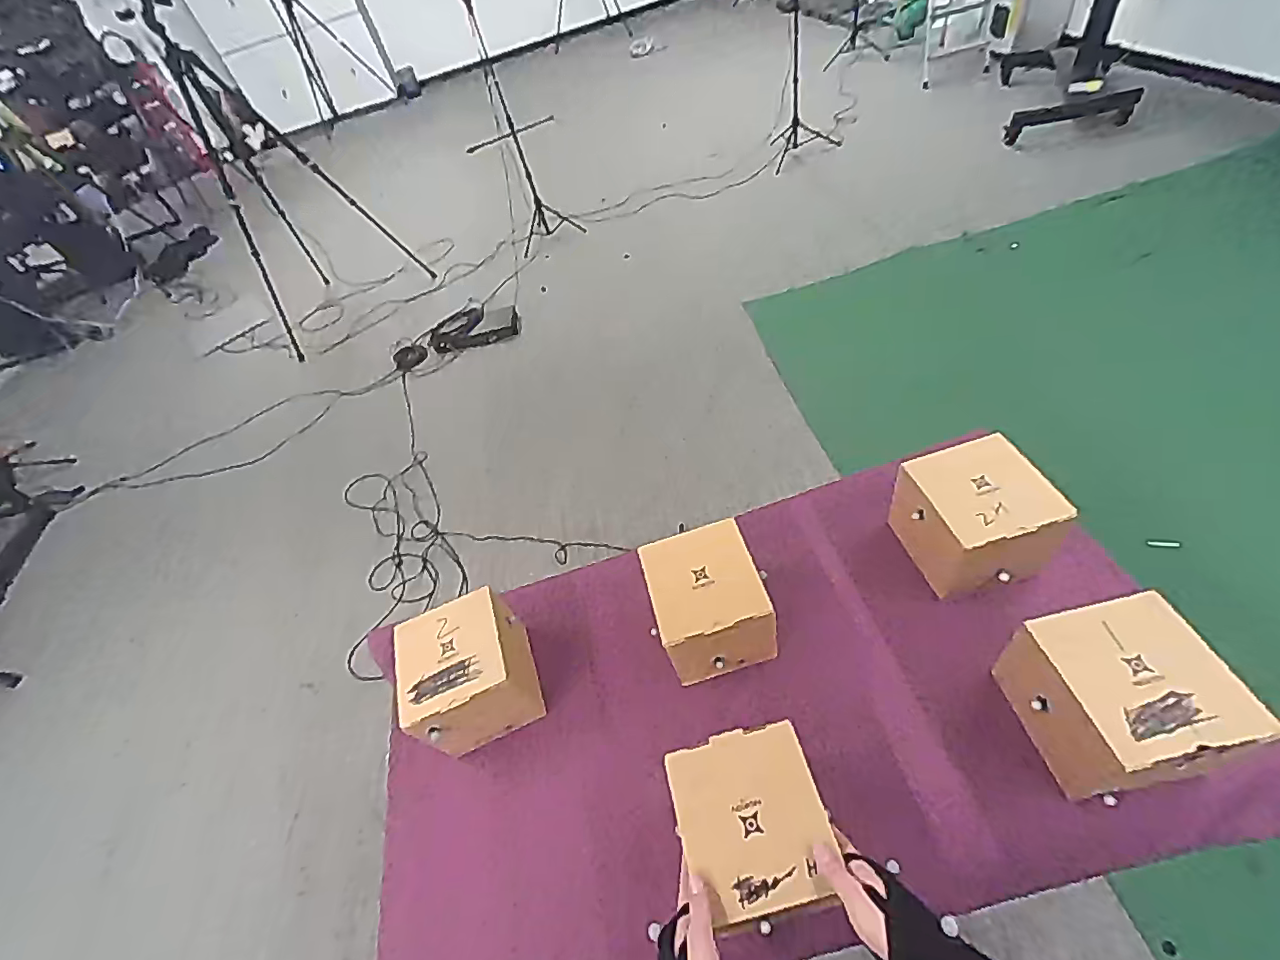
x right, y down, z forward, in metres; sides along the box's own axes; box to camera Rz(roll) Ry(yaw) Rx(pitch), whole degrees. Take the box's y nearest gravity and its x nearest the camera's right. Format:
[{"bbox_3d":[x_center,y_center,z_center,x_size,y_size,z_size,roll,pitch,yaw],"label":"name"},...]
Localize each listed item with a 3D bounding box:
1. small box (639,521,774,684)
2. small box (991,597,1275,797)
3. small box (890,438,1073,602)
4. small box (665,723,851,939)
[{"bbox_3d":[0.107,0.201,0.876,0.168,0.176,0.179,-17,50,0],"label":"small box"},{"bbox_3d":[0.584,0.278,0.677,0.168,0.176,0.179,-15,47,4],"label":"small box"},{"bbox_3d":[0.527,0.067,0.870,0.168,0.176,0.179,-17,49,2],"label":"small box"},{"bbox_3d":[0.139,0.434,0.668,0.168,0.176,0.179,-17,46,2],"label":"small box"}]
